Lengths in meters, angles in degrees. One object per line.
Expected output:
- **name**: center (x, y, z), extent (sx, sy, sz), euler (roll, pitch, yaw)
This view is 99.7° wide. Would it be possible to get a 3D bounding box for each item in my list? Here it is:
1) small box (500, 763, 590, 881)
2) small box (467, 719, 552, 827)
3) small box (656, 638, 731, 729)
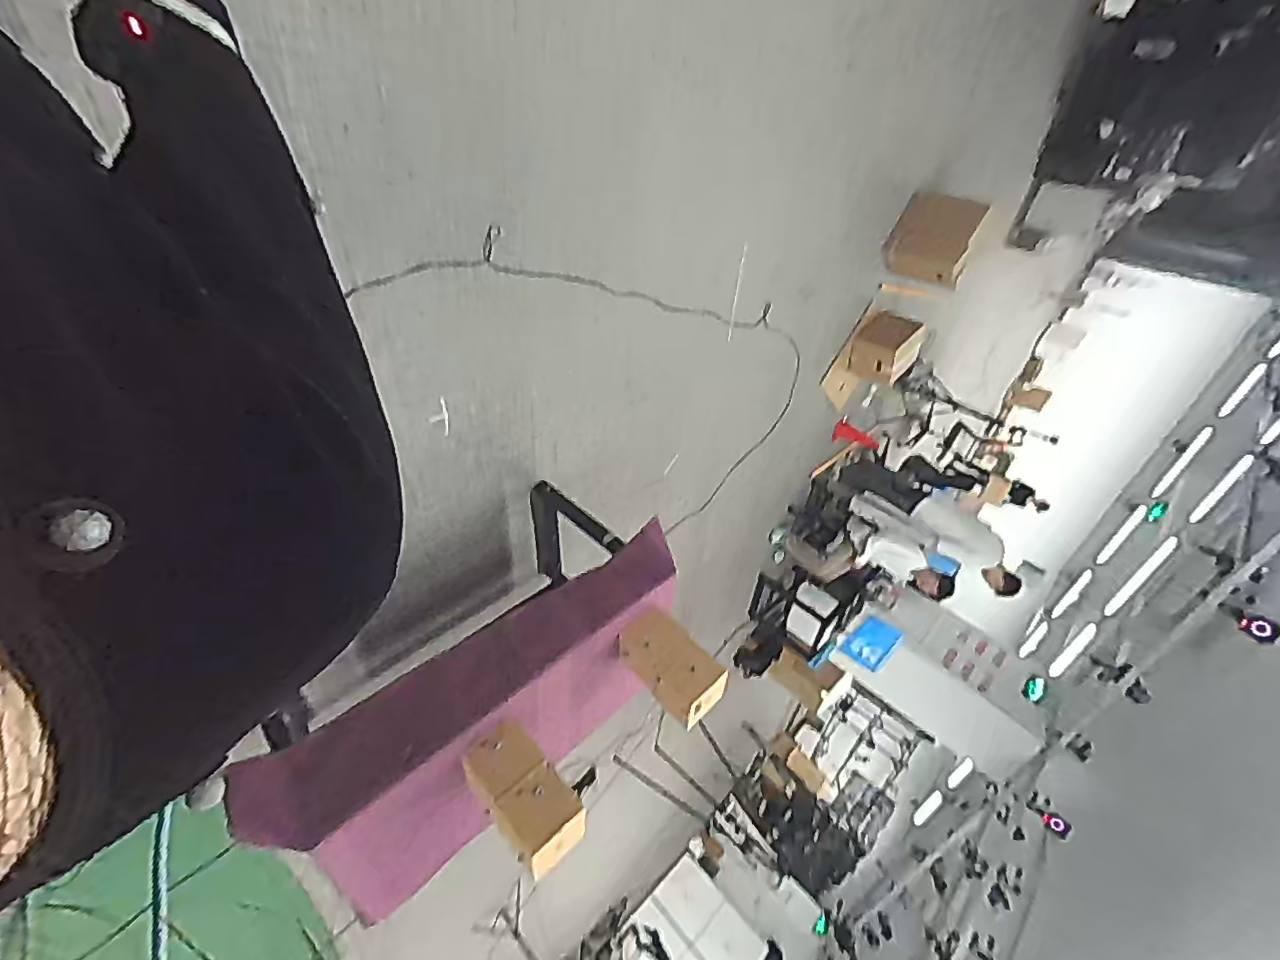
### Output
- **small box**: center (-0.249, 0.888, 1.417), extent (0.168, 0.176, 0.179), euler (-28, 137, -36)
- **small box**: center (-0.360, 0.808, 1.506), extent (0.168, 0.176, 0.179), euler (-28, 138, -36)
- **small box**: center (0.166, 0.650, 1.740), extent (0.179, 0.176, 0.168), euler (-31, 140, -32)
